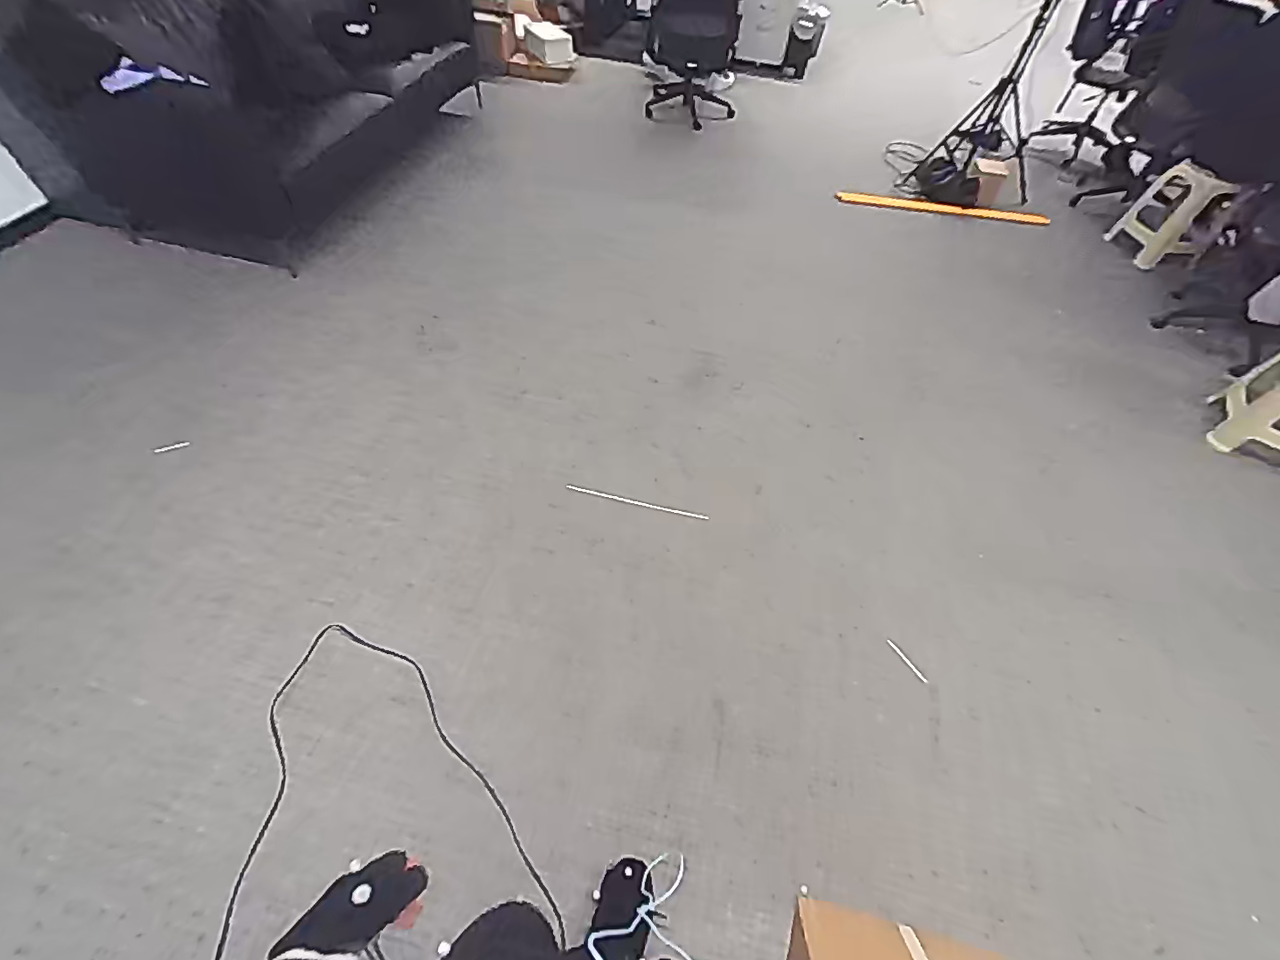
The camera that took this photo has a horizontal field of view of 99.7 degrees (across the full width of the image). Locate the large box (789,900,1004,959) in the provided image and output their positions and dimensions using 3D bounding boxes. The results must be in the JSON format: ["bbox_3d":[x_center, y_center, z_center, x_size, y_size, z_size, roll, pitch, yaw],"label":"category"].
[{"bbox_3d":[0.339,0.804,0.609,0.320,0.408,0.320,12,86,9],"label":"large box"}]
